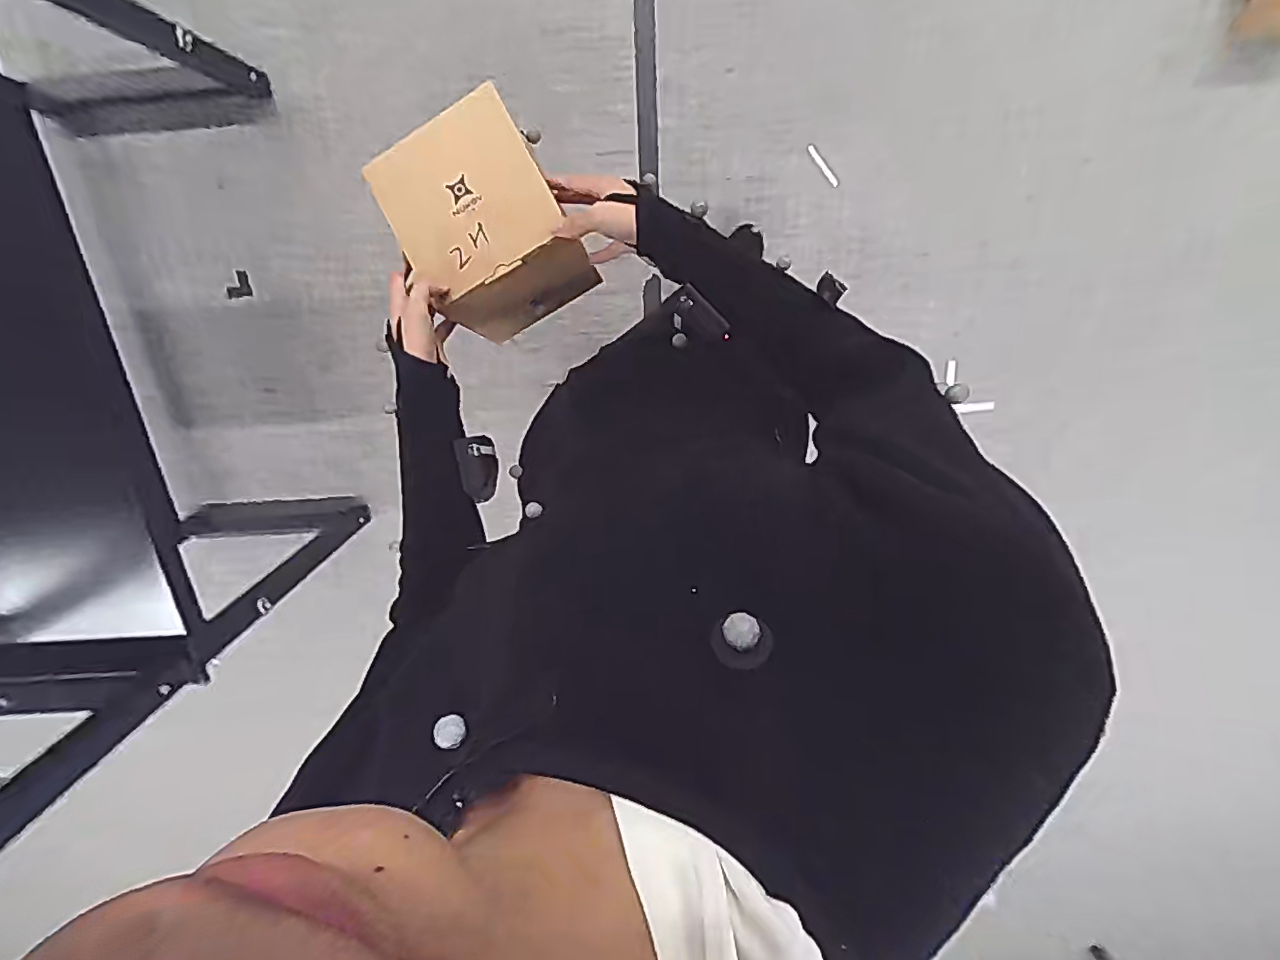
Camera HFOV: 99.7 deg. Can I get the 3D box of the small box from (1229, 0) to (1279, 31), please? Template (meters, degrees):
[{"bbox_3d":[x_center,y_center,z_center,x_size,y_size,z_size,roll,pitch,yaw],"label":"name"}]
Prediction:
[{"bbox_3d":[1.483,-1.121,1.183,0.179,0.176,0.168,-1,108,0],"label":"small box"}]

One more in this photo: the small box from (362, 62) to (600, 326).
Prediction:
[{"bbox_3d":[-0.165,-0.303,0.617,0.168,0.176,0.179,-27,89,8],"label":"small box"}]
